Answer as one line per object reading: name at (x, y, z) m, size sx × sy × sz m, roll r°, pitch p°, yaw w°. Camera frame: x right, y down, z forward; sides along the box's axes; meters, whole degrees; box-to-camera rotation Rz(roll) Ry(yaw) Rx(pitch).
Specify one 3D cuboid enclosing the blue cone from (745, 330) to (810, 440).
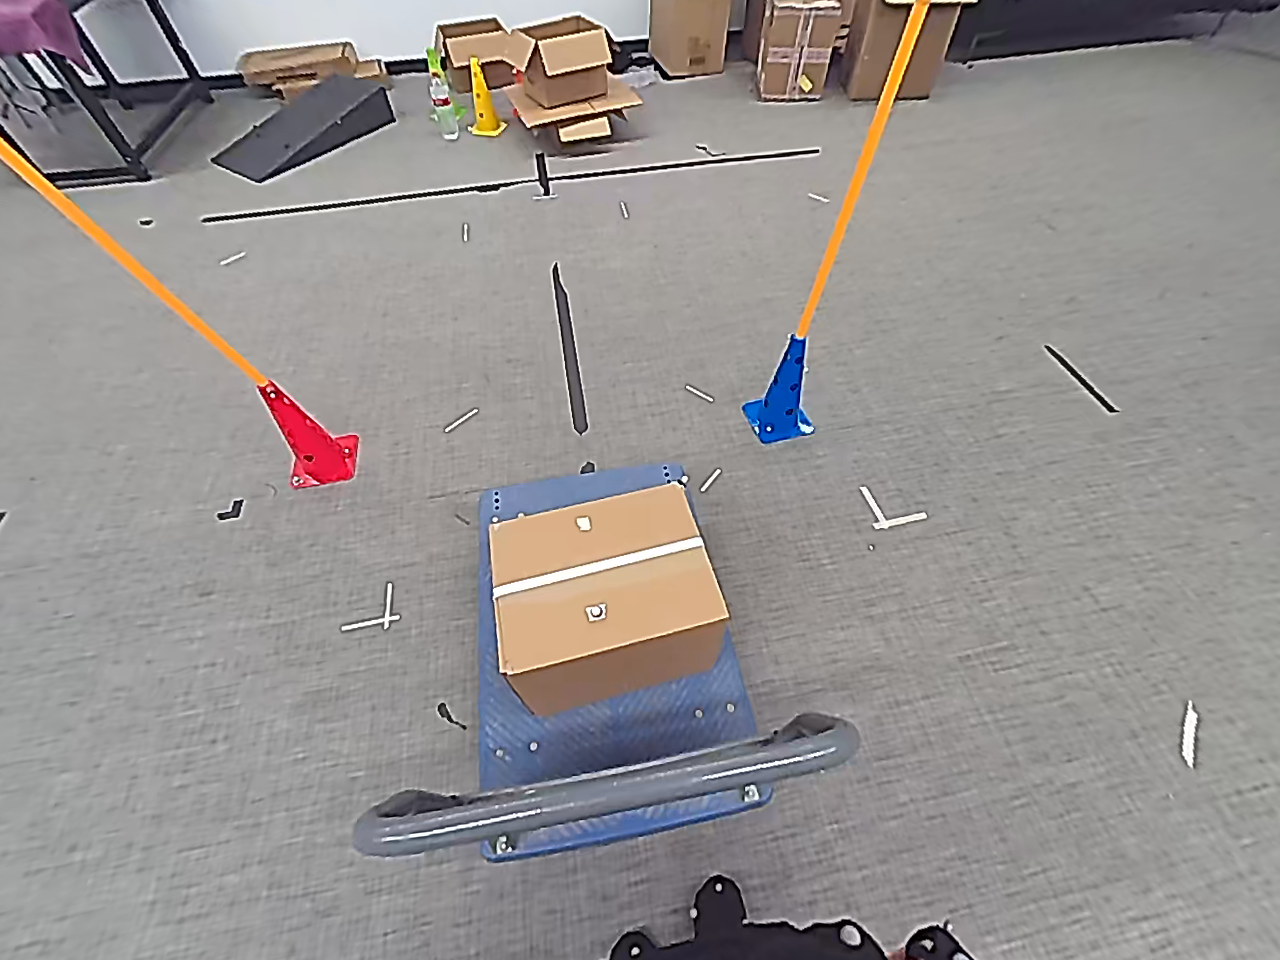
blue cone at (0.481, -0.319, 1.764) m, size 0.193 × 0.380 × 0.192 m, roll -12°, pitch 53°, yaw -8°
